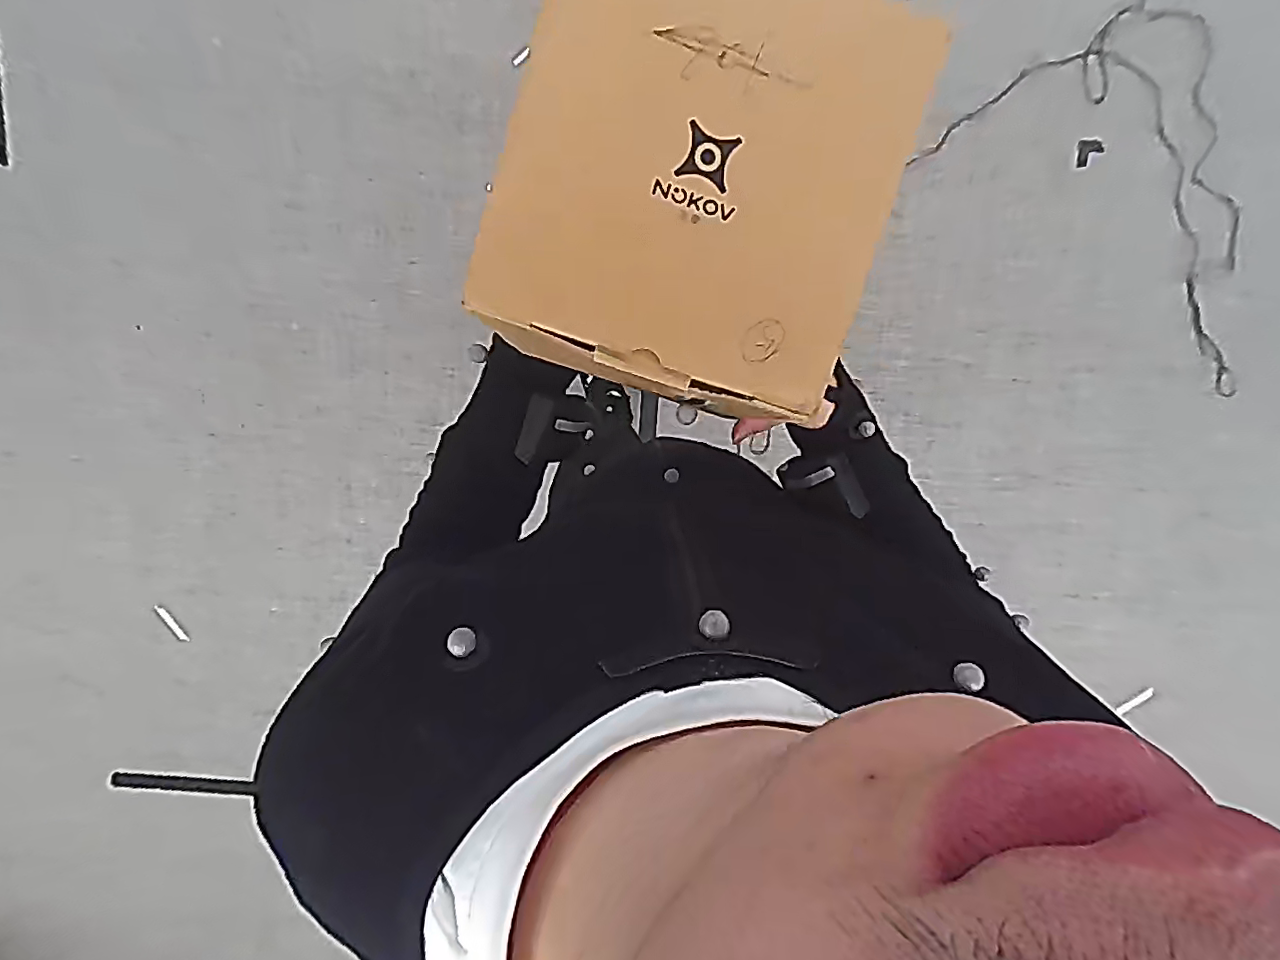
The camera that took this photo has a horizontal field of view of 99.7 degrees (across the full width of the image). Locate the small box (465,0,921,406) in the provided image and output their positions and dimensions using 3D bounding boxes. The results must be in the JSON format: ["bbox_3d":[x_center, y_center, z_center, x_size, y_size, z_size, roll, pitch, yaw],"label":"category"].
[{"bbox_3d":[0.018,-0.149,0.319,0.168,0.176,0.179,17,95,-7],"label":"small box"}]
